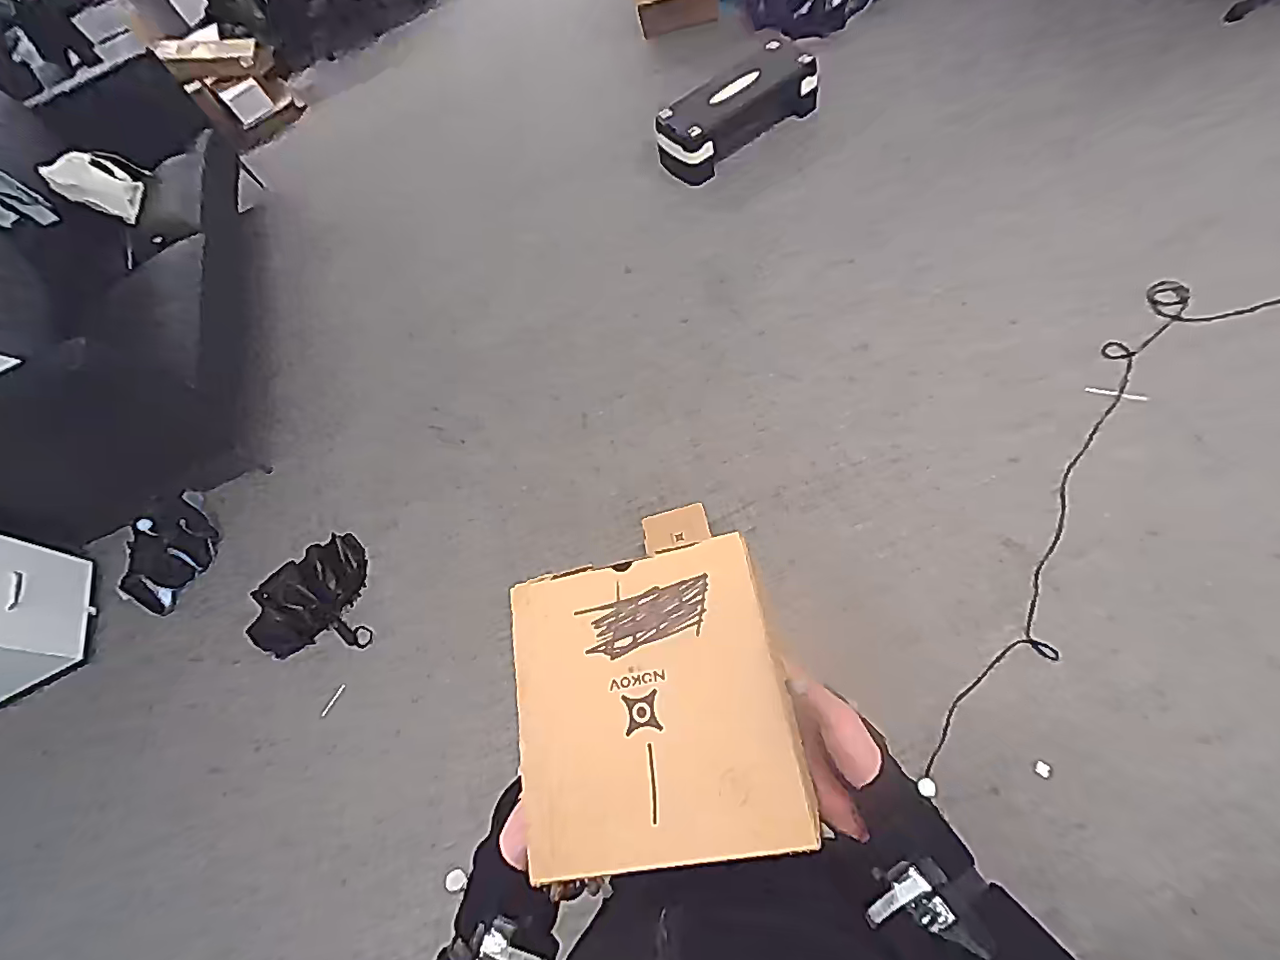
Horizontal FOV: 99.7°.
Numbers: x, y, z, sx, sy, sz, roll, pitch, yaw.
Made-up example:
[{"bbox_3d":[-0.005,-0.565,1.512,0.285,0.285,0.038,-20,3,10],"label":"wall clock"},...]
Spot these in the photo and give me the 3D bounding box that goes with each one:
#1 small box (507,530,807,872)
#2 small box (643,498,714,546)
[{"bbox_3d":[0.018,0.157,0.400,0.168,0.176,0.179,-15,66,12],"label":"small box"},{"bbox_3d":[0.122,0.176,1.503,0.179,0.176,0.168,-16,62,5],"label":"small box"}]
